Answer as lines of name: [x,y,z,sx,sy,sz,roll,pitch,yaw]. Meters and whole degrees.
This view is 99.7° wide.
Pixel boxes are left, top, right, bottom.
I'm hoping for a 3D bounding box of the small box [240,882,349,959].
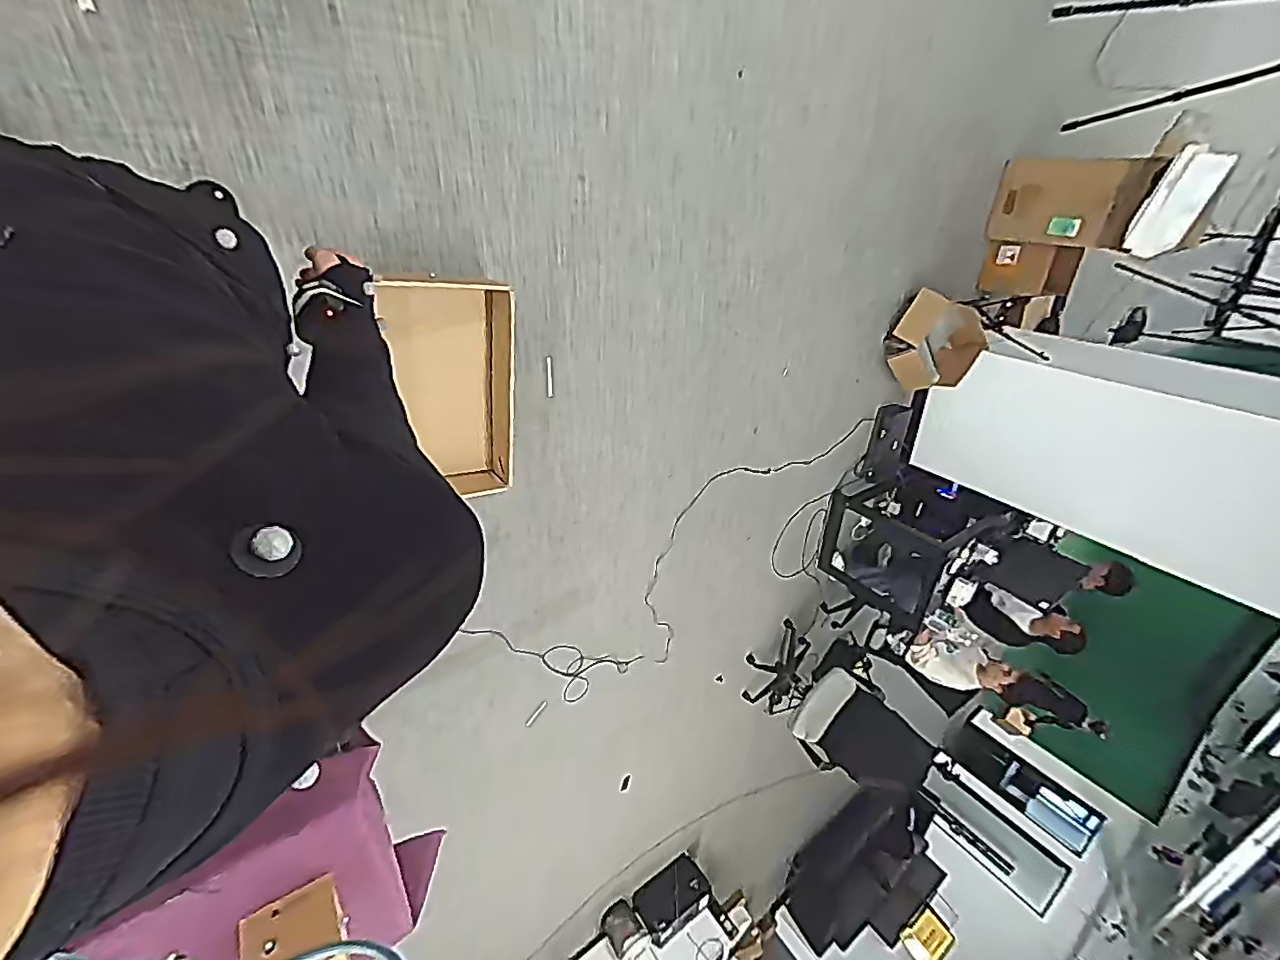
small box: [-0.713,0.987,1.122,0.168,0.176,0.179,-13,122,-33]
